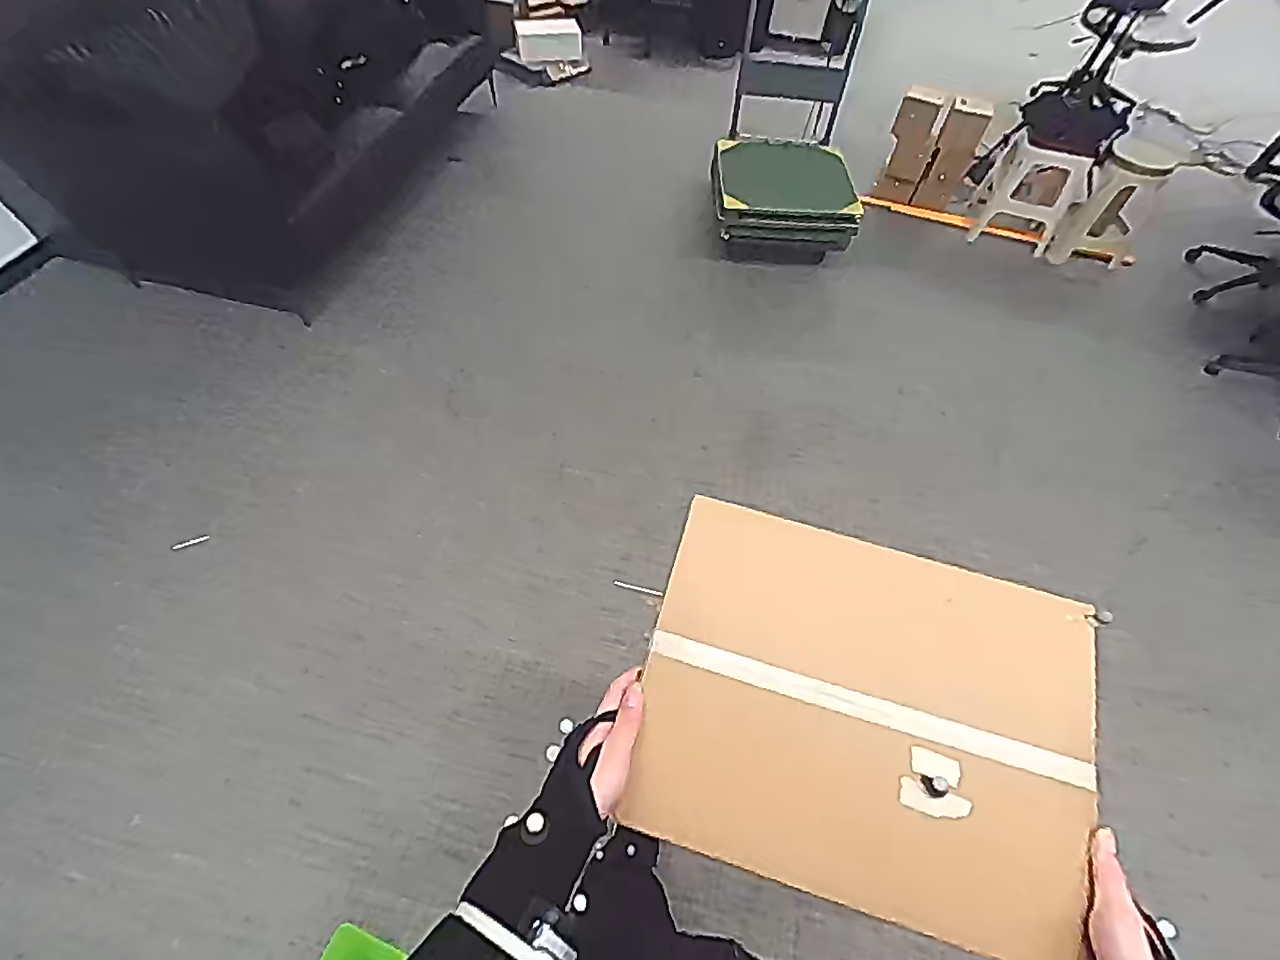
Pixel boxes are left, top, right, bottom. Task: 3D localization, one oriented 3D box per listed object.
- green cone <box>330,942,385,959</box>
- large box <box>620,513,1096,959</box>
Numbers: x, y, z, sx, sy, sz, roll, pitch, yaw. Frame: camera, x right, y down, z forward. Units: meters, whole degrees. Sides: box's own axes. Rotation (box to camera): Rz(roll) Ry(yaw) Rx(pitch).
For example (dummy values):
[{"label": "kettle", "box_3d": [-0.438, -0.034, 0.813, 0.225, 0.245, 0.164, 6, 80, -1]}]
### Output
[{"label": "green cone", "box_3d": [-0.587, 1.015, 0.969, 0.200, 0.368, 0.202, 18, 58, 9]}, {"label": "large box", "box_3d": [0.210, 0.274, 0.641, 0.408, 0.320, 0.320, 15, 69, 6]}]
